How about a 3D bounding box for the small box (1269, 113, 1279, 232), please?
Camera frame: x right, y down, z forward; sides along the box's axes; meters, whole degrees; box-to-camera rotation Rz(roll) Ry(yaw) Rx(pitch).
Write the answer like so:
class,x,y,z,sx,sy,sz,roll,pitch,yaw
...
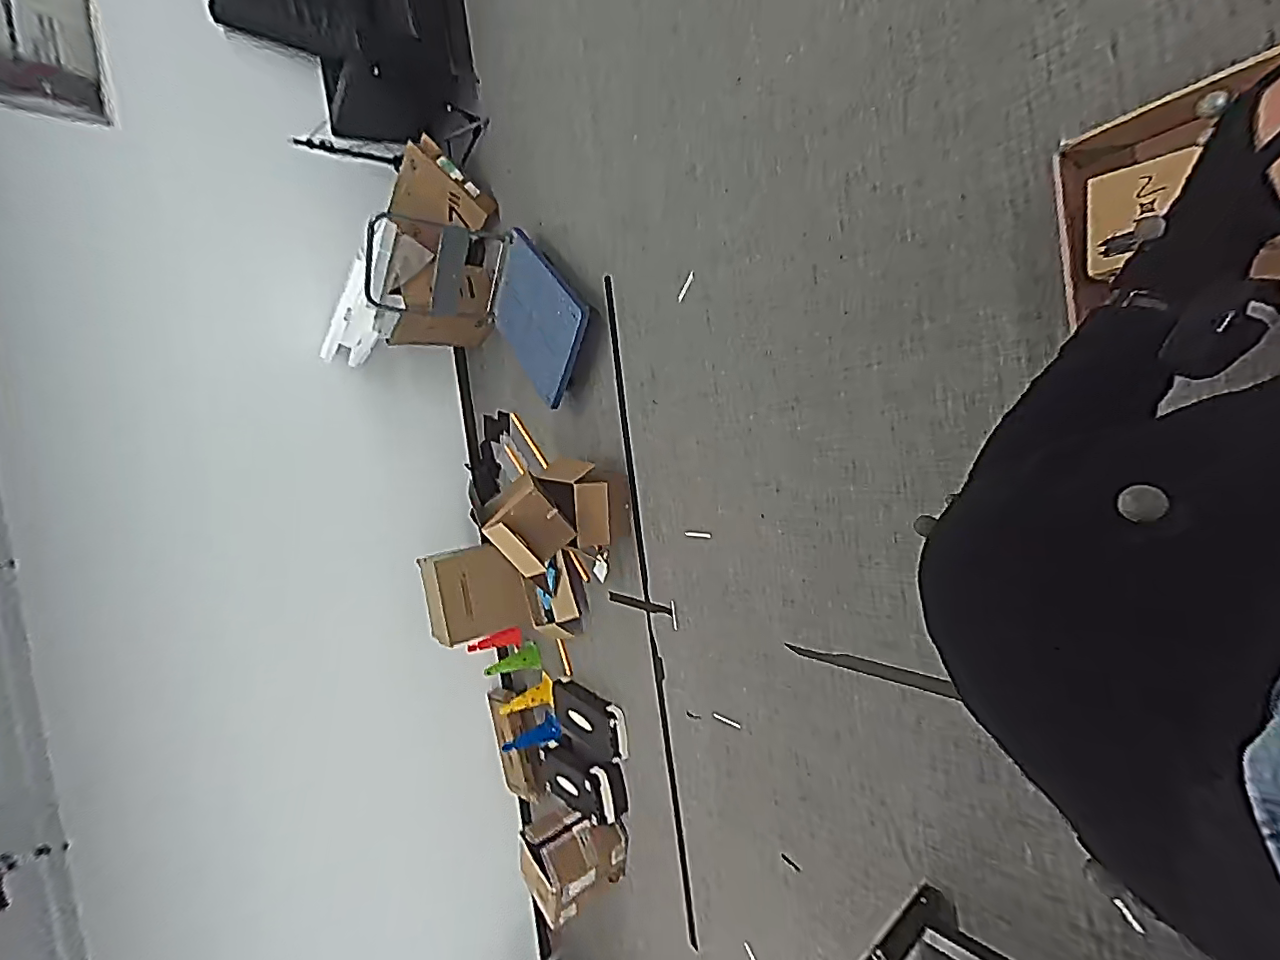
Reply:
class,x,y,z,sx,sy,sz,roll,pitch,yaw
small box,1.087,-0.486,0.812,0.168,0.176,0.179,-6,94,53
